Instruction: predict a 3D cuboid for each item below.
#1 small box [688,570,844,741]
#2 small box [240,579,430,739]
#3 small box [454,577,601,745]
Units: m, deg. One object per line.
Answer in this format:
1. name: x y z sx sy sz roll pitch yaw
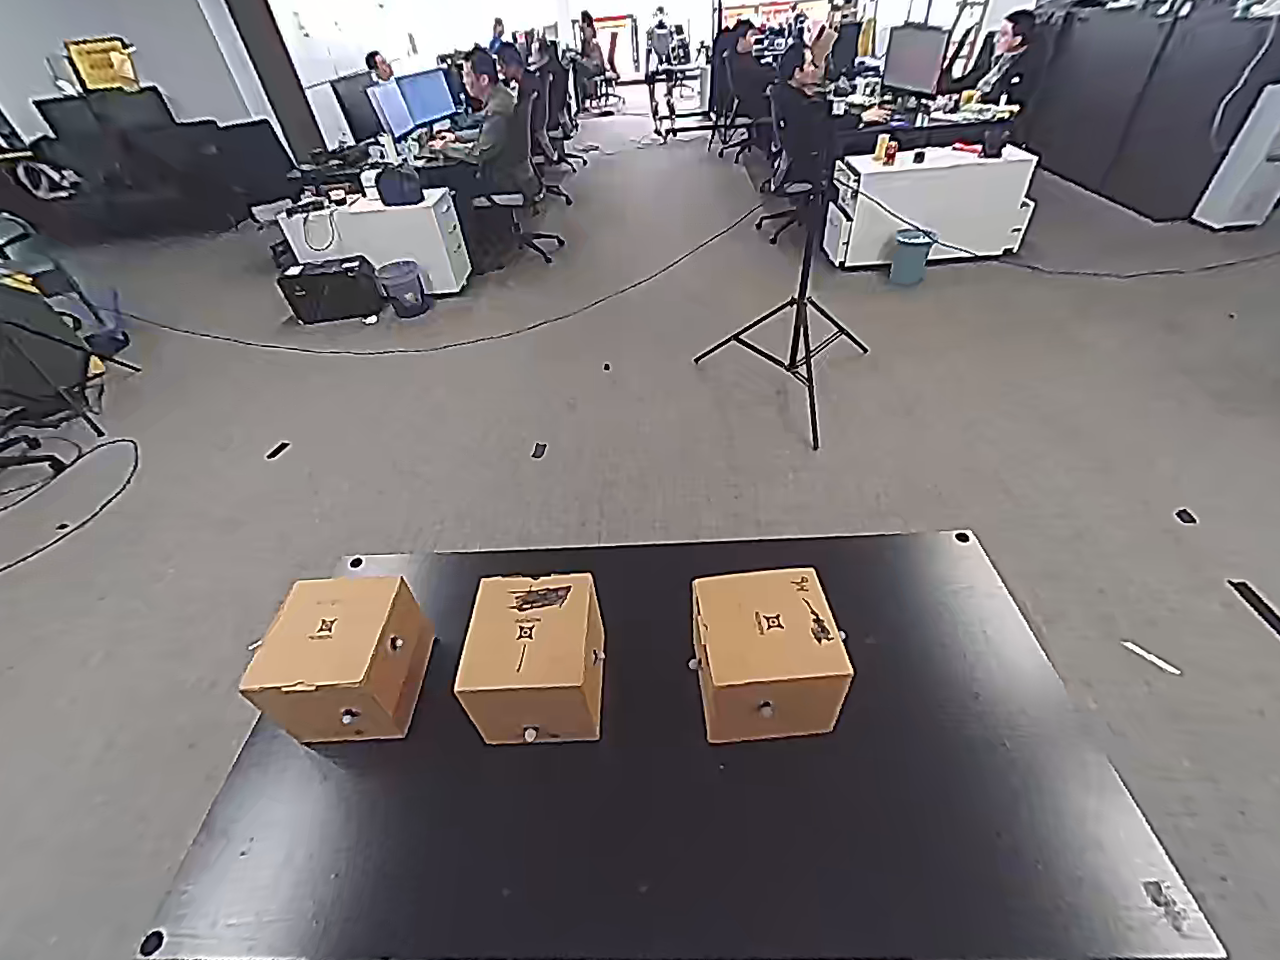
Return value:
1. small box: 0.168 0.252 0.770 0.179 0.176 0.168 -6 42 0
2. small box: -0.436 0.272 0.813 0.168 0.176 0.179 -3 41 1
3. small box: -0.150 0.264 0.791 0.168 0.176 0.179 -3 43 3
